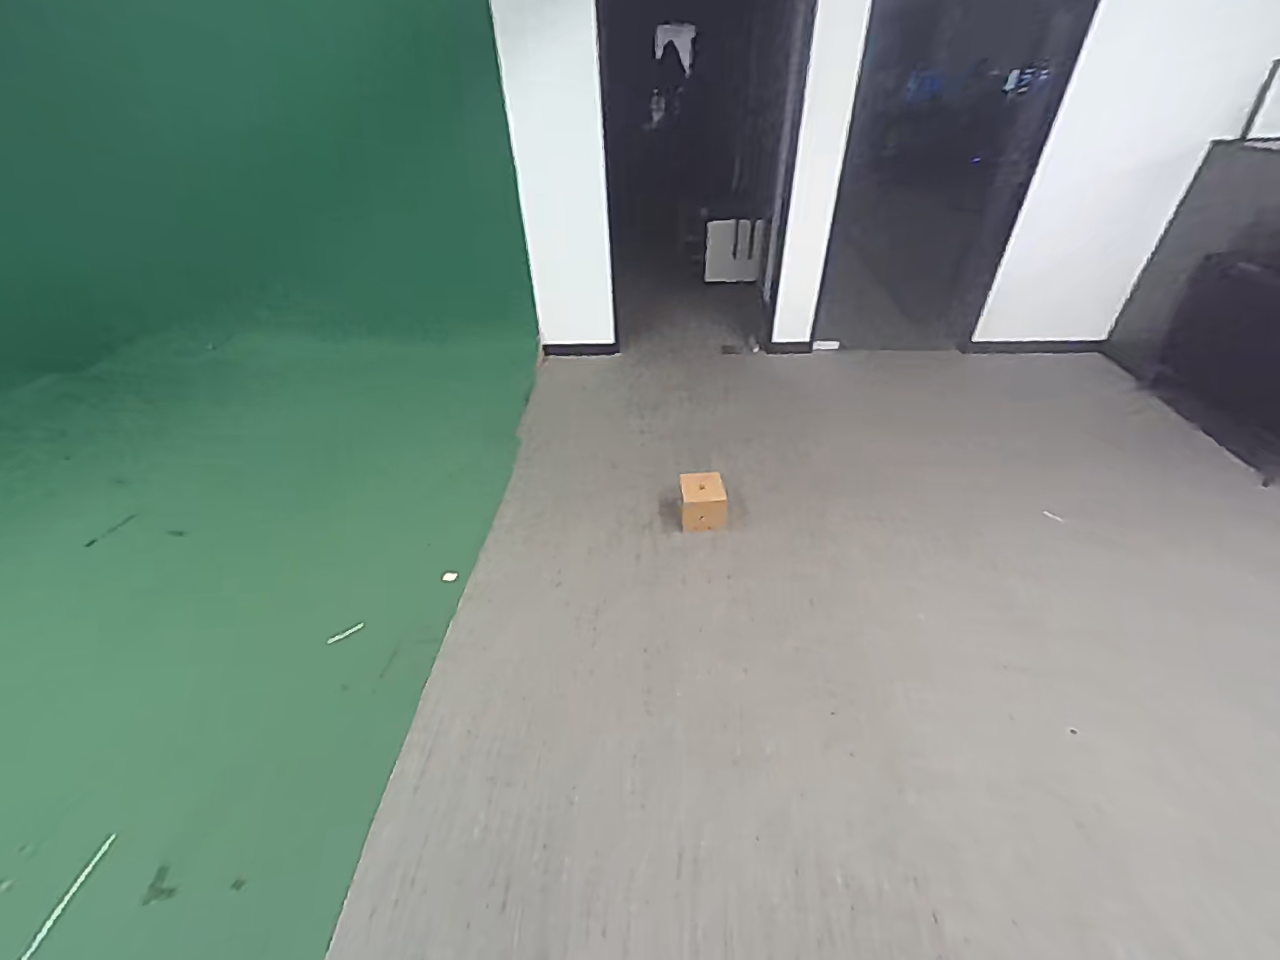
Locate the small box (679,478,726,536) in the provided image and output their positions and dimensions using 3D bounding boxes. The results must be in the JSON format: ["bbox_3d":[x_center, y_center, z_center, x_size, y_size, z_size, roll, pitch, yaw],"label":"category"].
[{"bbox_3d":[0.245,0.114,2.169,0.168,0.176,0.179,-3,39,-2],"label":"small box"}]
